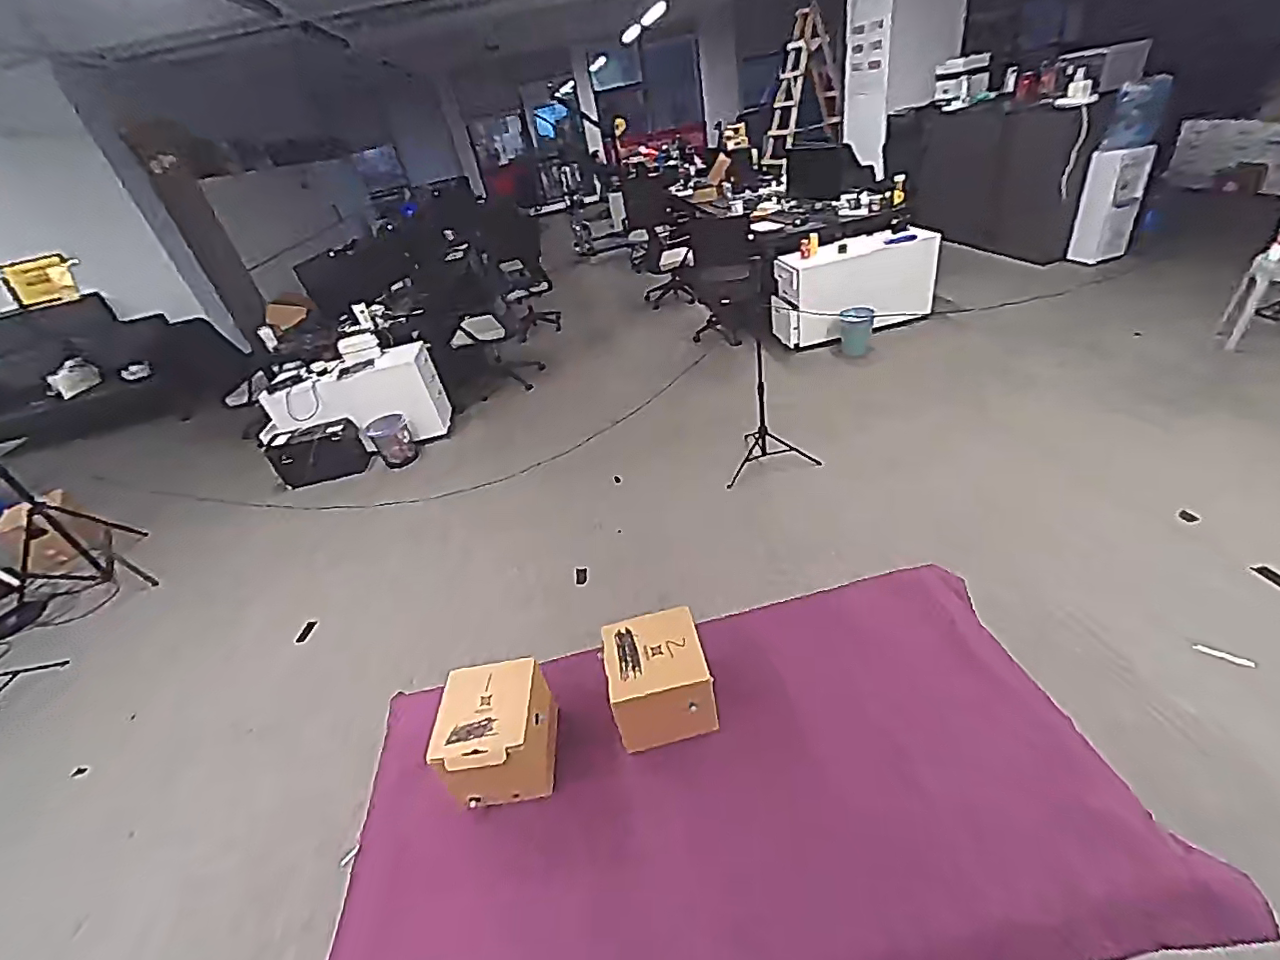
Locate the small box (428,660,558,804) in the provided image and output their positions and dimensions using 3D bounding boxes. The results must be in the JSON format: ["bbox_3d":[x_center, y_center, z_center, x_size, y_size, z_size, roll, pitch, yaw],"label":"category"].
[{"bbox_3d":[-0.252,0.458,0.976,0.168,0.176,0.179,-10,34,3],"label":"small box"}]
